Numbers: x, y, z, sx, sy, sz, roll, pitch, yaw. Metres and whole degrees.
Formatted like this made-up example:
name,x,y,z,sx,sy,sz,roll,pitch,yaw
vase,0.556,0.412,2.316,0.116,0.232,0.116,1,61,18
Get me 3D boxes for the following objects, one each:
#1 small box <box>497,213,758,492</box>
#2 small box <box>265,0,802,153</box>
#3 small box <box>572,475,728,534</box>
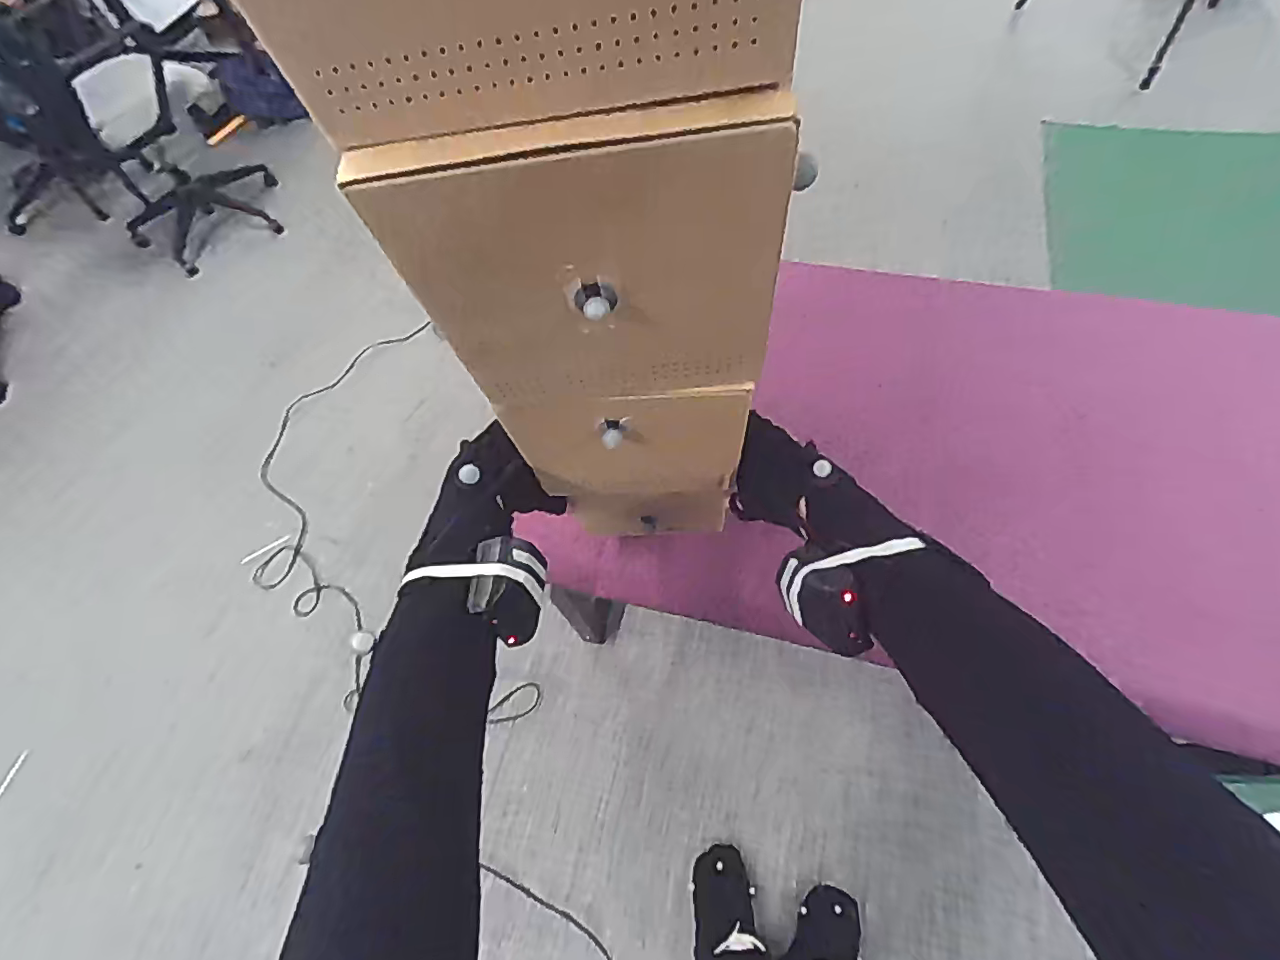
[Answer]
name,x,y,z,sx,sy,sz,roll,pitch,yaw
small box,-0.001,-0.095,0.459,0.179,0.176,0.168,-1,67,6
small box,-0.035,-0.235,0.162,0.179,0.176,0.168,-3,67,7
small box,0.010,-0.047,0.615,0.168,0.176,0.179,-1,68,5
